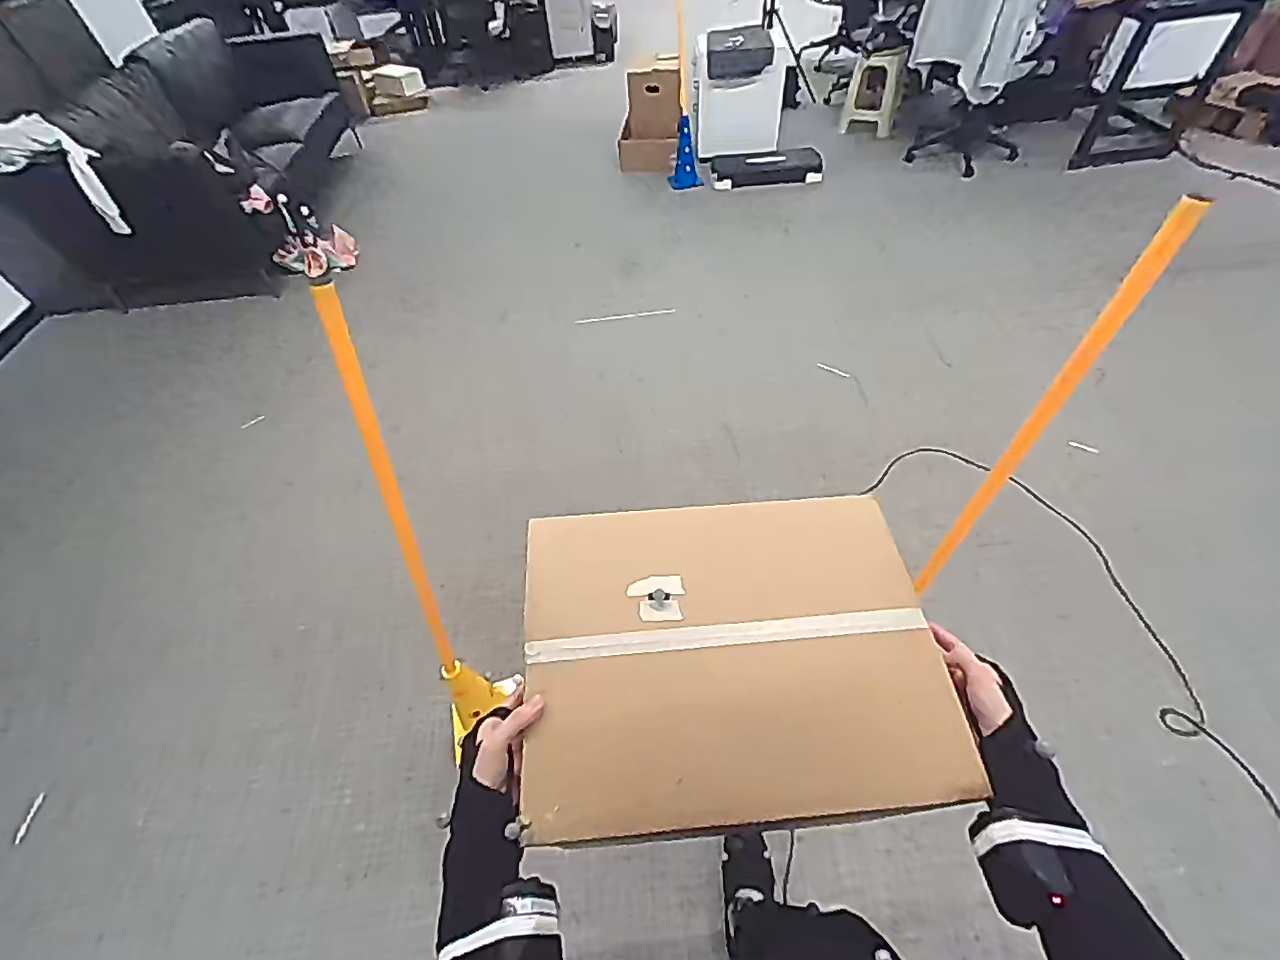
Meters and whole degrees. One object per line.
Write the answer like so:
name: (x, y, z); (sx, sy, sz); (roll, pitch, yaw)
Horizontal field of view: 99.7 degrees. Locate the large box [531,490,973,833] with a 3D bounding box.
large box: (0.093, 0.239, 0.679); (0.408, 0.320, 0.320); (-5, 55, -2)
